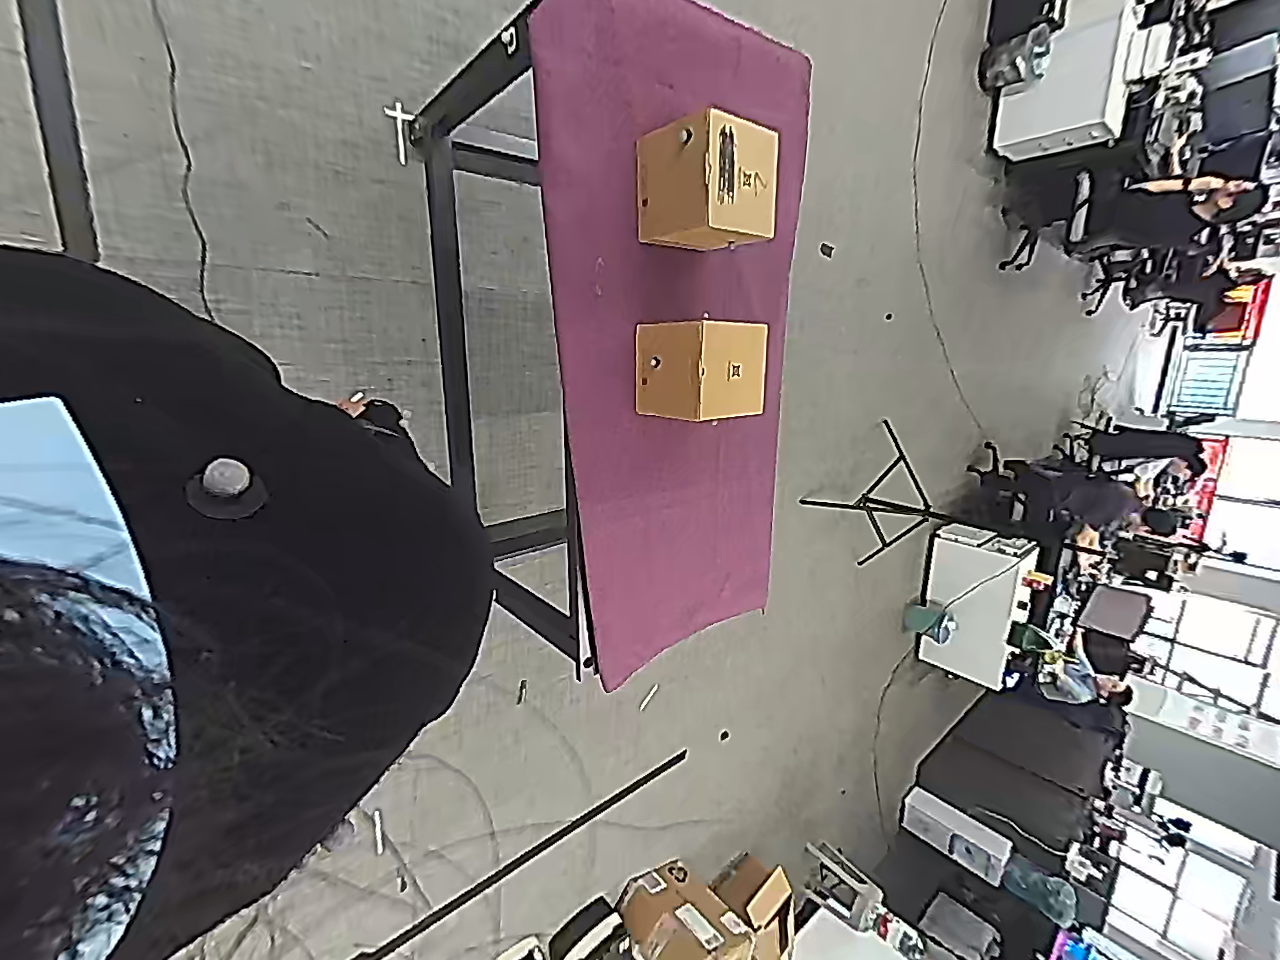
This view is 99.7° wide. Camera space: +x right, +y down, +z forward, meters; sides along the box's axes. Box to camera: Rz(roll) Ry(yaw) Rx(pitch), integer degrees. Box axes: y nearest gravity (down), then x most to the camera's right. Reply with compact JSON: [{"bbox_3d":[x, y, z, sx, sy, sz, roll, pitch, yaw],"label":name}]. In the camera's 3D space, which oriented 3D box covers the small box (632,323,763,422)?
[{"bbox_3d":[0.105,-0.205,1.008,0.179,0.176,0.168,-11,108,-39],"label":"small box"}]
